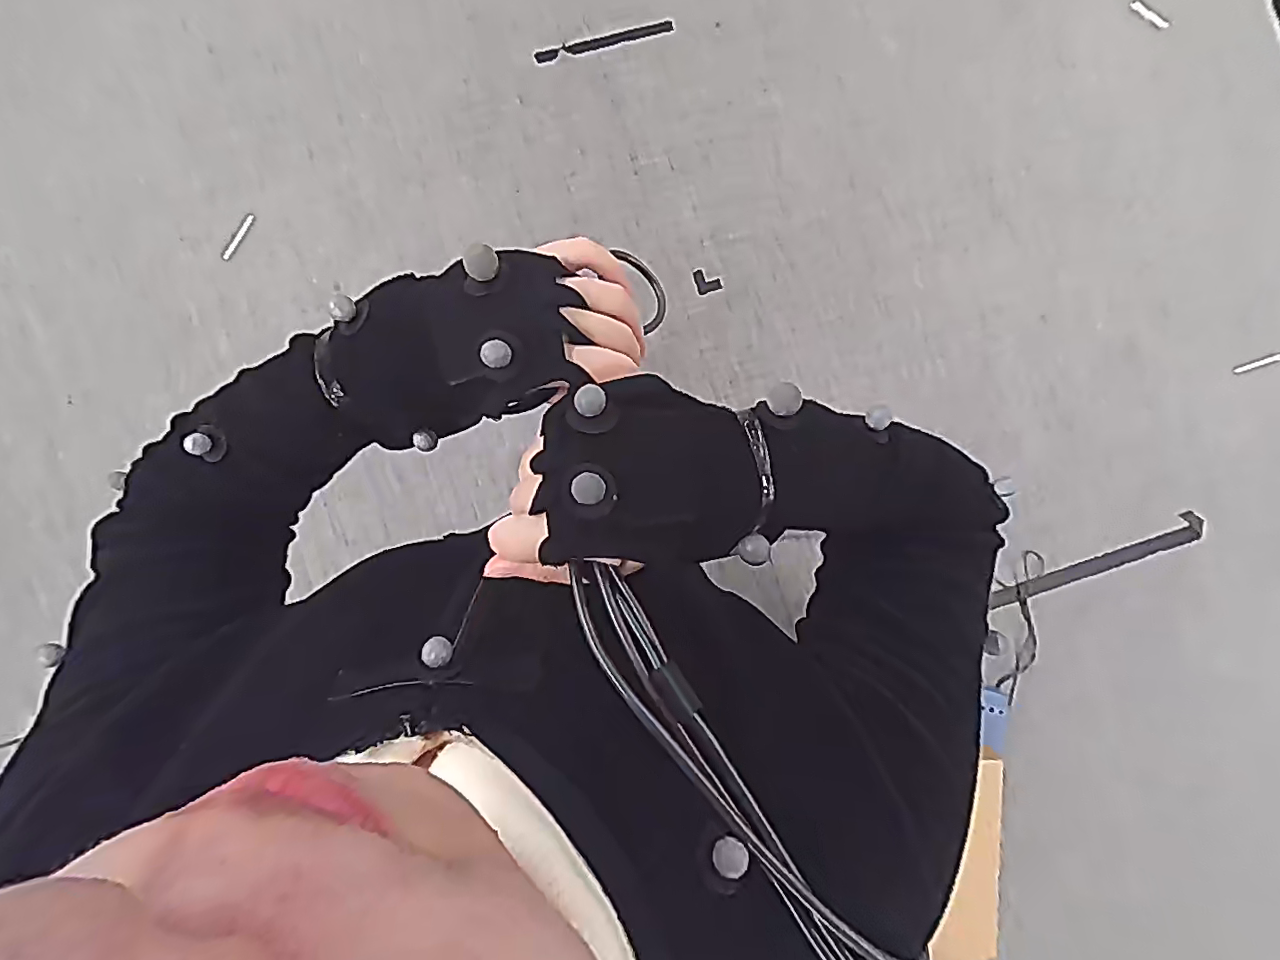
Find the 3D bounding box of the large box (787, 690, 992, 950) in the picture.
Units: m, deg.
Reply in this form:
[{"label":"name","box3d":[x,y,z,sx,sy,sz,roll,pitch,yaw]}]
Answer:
[{"label":"large box","box3d":[0.533,0.728,1.218,0.320,0.320,0.408,3,91,-3]}]
